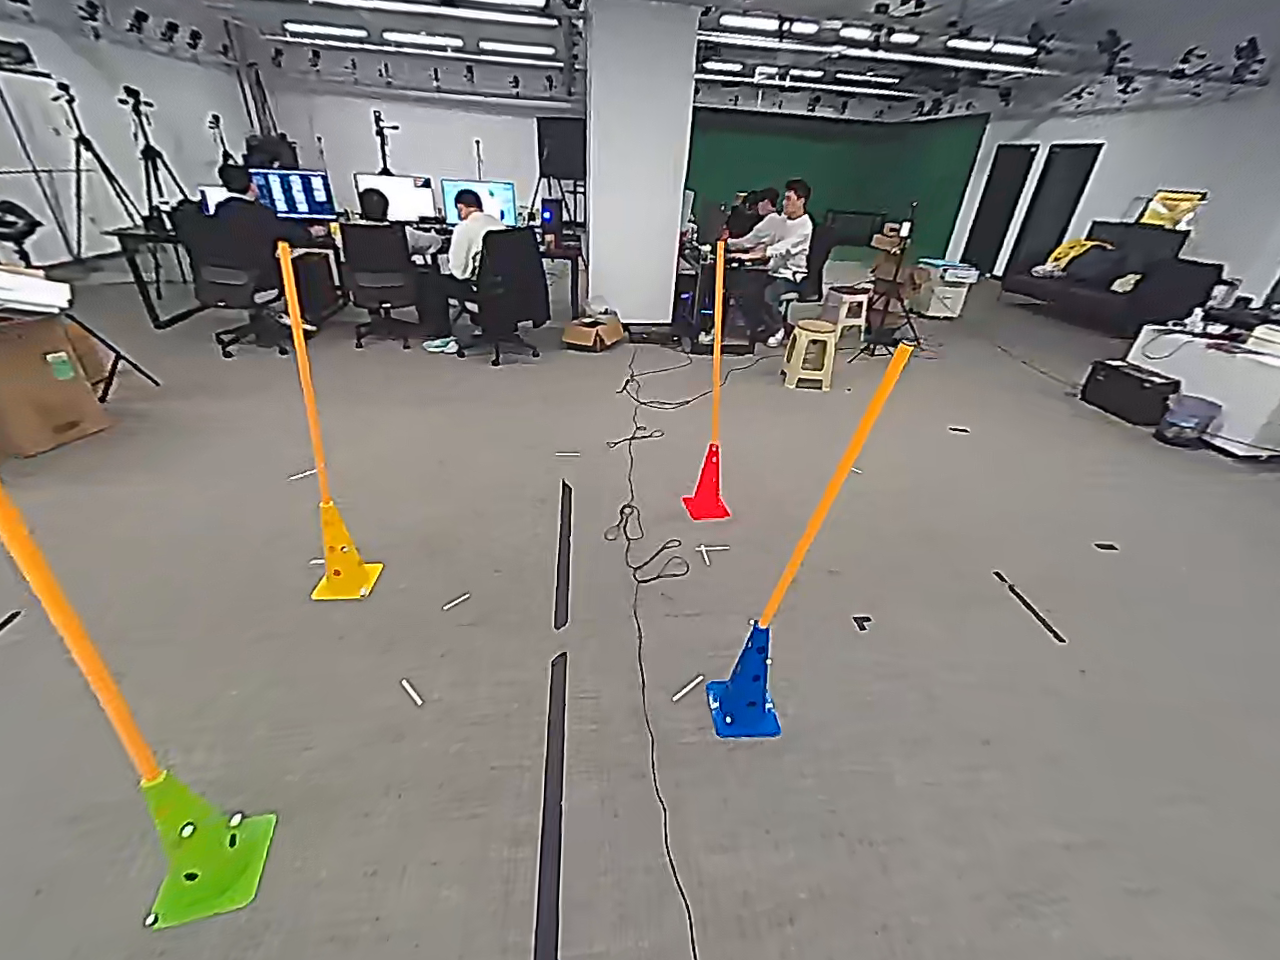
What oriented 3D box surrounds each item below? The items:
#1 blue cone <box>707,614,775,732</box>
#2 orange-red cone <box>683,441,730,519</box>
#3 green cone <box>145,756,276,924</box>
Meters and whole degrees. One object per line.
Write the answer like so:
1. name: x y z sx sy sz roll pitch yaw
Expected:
1. blue cone: 0.323 0.555 1.597 0.193 0.380 0.192 1 30 -4
2. orange-red cone: 0.331 -0.016 2.549 0.199 0.360 0.198 -4 30 -10
3. green cone: -0.955 0.723 1.147 0.200 0.368 0.202 -5 29 -16
